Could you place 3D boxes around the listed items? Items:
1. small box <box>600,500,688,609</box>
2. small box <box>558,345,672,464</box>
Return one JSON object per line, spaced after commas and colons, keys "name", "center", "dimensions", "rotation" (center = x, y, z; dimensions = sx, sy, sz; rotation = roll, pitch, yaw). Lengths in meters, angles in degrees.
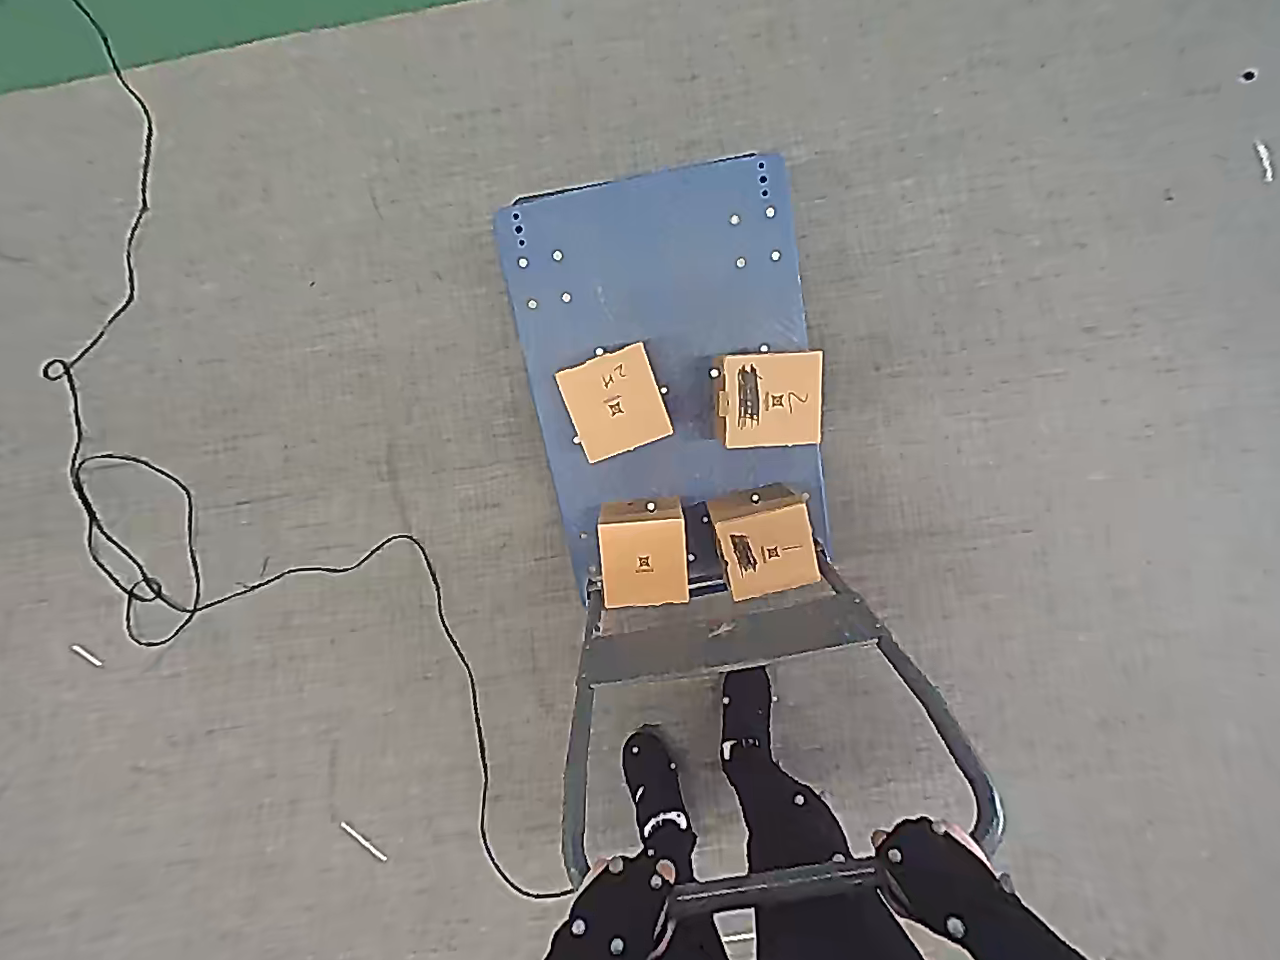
{"name": "small box", "center": [0.006, 0.144, 1.109], "dimensions": [0.168, 0.176, 0.179], "rotation": [-4, 104, 0]}
{"name": "small box", "center": [-0.043, -0.151, 1.040], "dimensions": [0.168, 0.176, 0.179], "rotation": [-19, 102, 3]}
